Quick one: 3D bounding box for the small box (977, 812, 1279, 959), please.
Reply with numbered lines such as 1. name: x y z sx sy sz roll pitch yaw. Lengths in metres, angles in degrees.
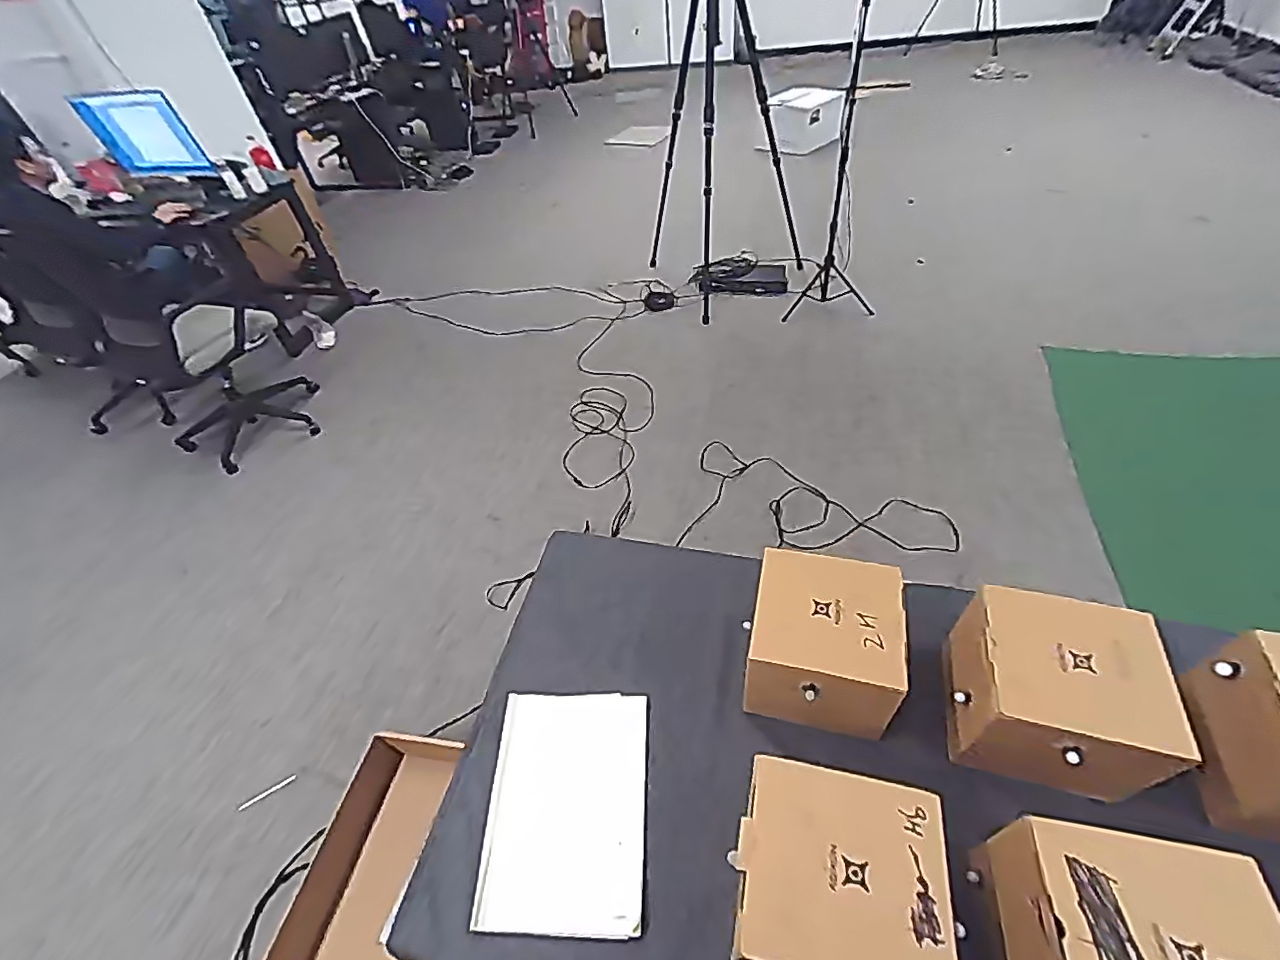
1. small box: 0.427 0.425 0.480 0.179 0.176 0.168 5 46 11
